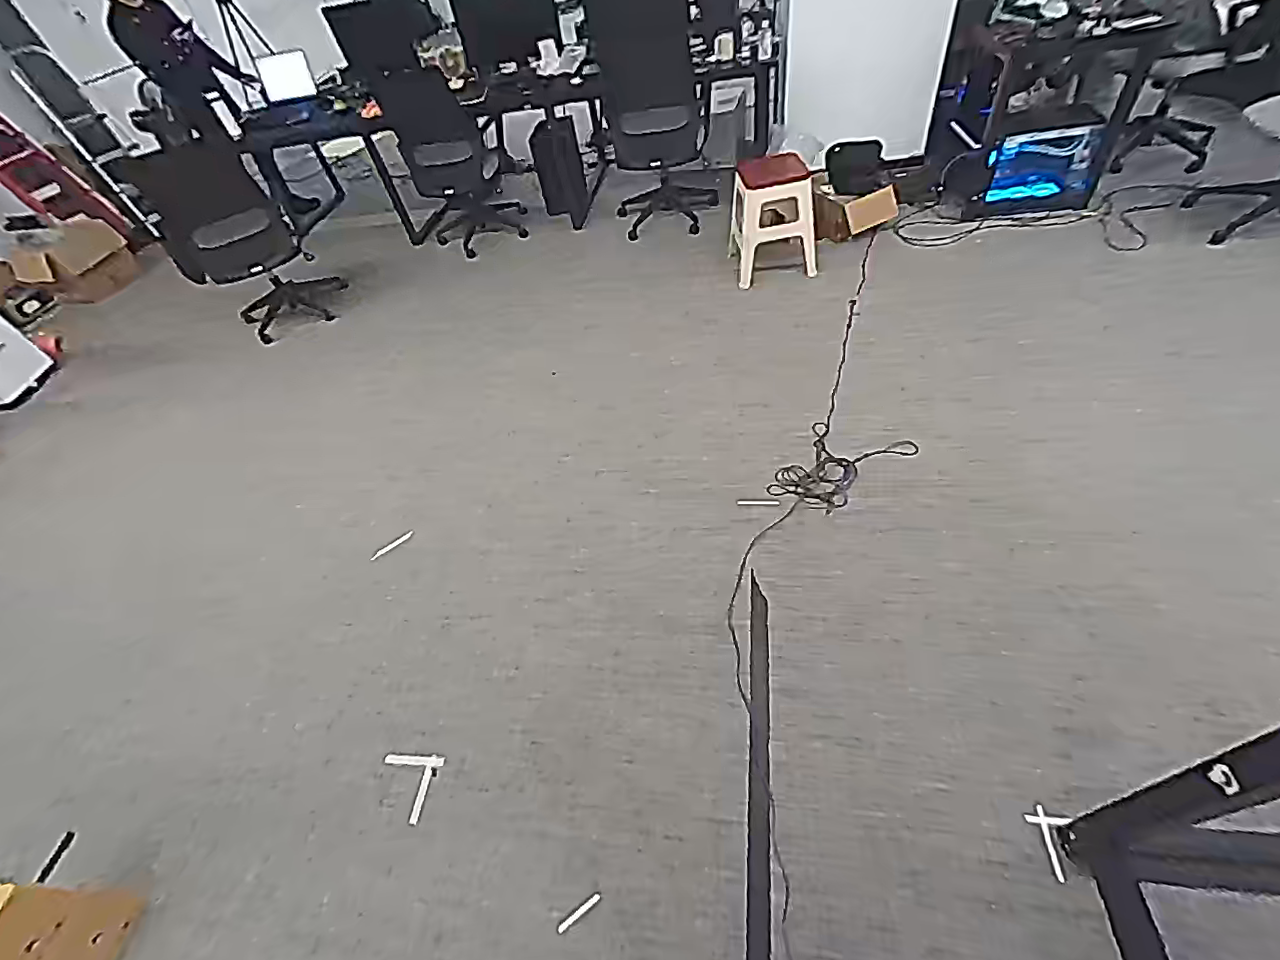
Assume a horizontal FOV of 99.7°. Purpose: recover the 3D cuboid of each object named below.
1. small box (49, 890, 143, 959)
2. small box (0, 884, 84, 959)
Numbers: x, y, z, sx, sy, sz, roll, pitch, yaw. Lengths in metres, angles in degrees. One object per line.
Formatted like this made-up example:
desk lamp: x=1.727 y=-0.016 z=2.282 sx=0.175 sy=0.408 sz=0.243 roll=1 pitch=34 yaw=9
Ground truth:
small box: x=-1.324 y=1.054 z=1.244 sx=0.179 sy=0.176 sz=0.168 roll=-4 pitch=48 yaw=9
small box: x=-1.351 y=0.948 z=1.123 sx=0.179 sy=0.176 sz=0.168 roll=-2 pitch=49 yaw=9
